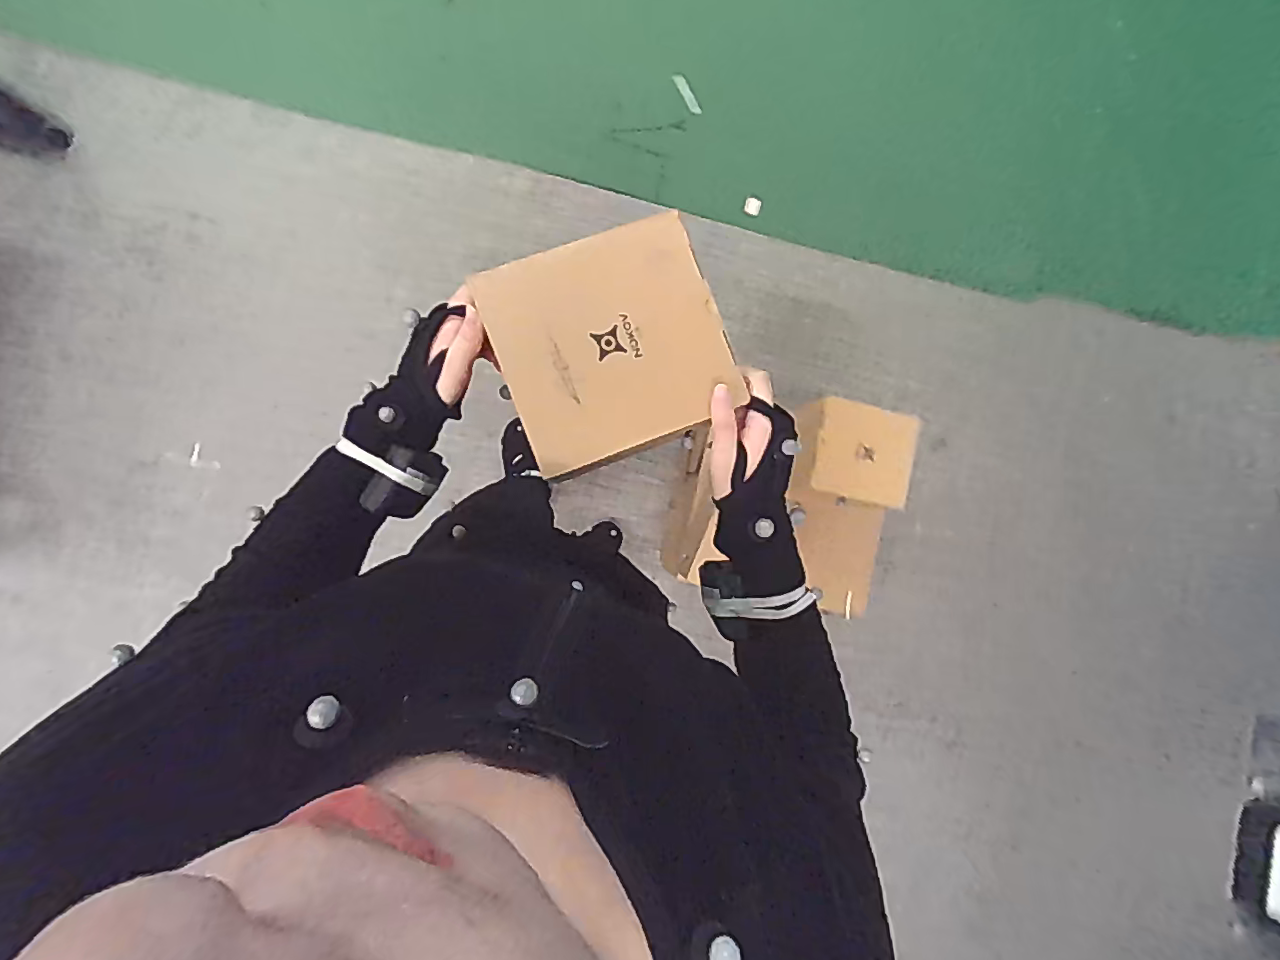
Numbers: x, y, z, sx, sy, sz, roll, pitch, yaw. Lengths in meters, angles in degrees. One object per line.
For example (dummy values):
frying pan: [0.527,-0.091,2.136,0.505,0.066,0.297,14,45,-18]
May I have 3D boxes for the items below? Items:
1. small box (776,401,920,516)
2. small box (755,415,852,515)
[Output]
small box: [0.378,-0.036,1.007,0.179,0.176,0.168,14,87,-5]
small box: [0.360,-0.028,1.169,0.168,0.176,0.179,12,87,-6]
